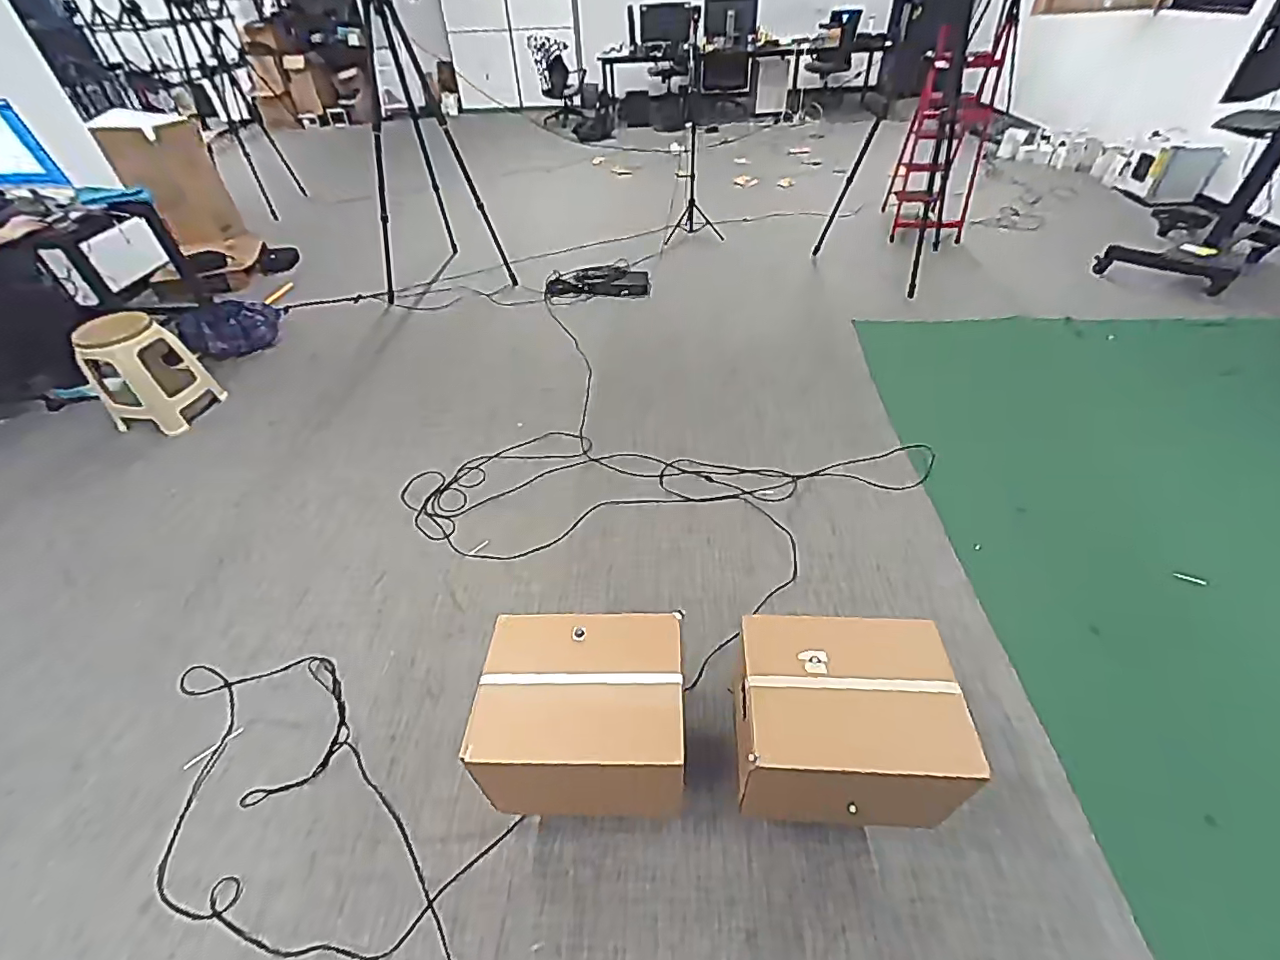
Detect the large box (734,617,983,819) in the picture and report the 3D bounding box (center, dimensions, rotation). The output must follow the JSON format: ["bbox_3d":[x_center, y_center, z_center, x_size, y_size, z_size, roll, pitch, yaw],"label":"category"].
[{"bbox_3d":[0.423,0.513,1.167,0.408,0.320,0.320,1,43,5],"label":"large box"}]
